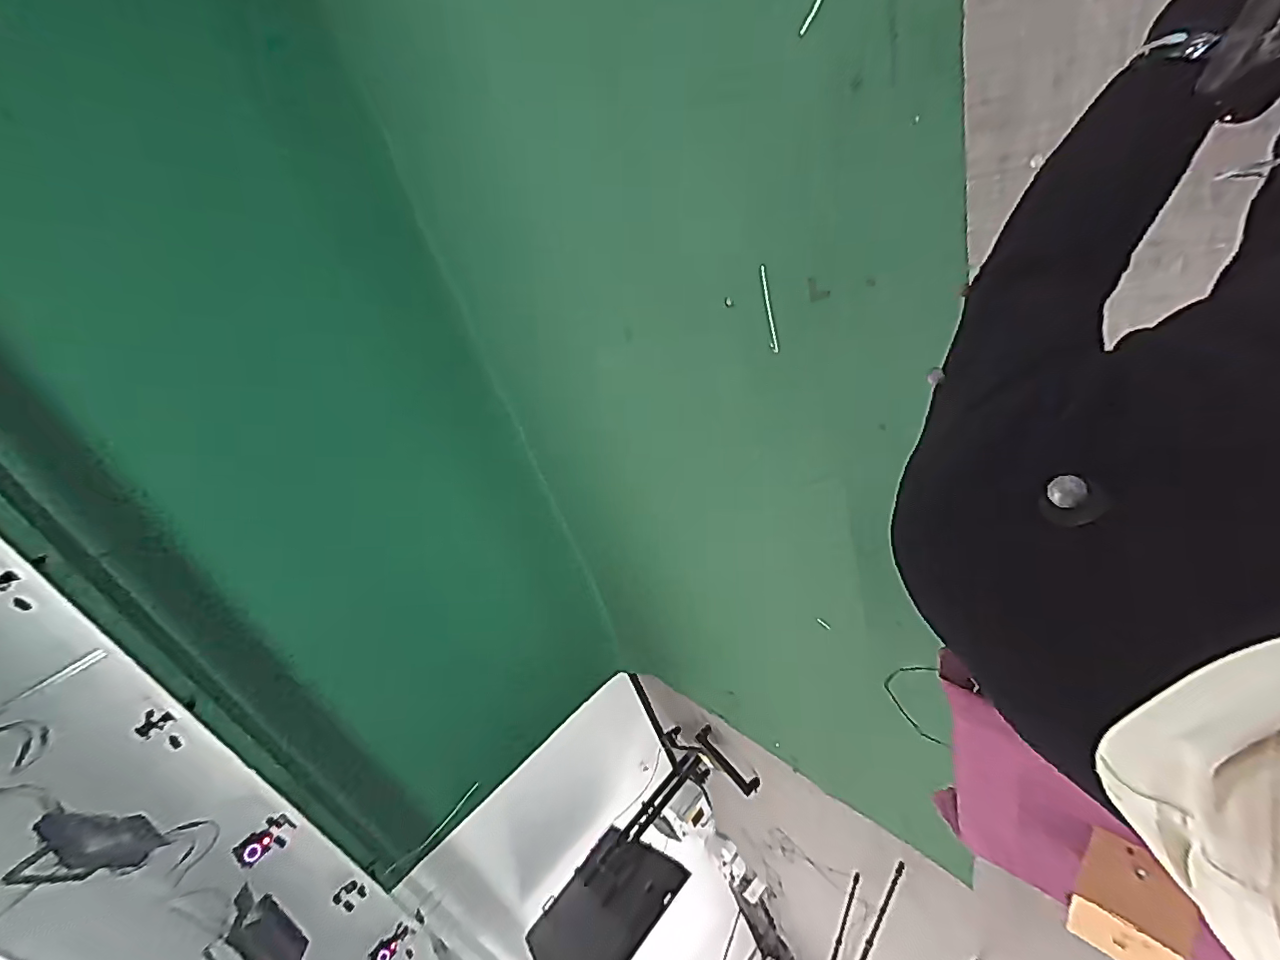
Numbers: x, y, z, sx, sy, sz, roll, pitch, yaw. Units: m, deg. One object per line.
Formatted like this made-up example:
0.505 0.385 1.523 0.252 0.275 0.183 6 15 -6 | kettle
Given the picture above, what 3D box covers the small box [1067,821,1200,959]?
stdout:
1.015 0.861 1.116 0.168 0.176 0.179 16 134 46 | small box
